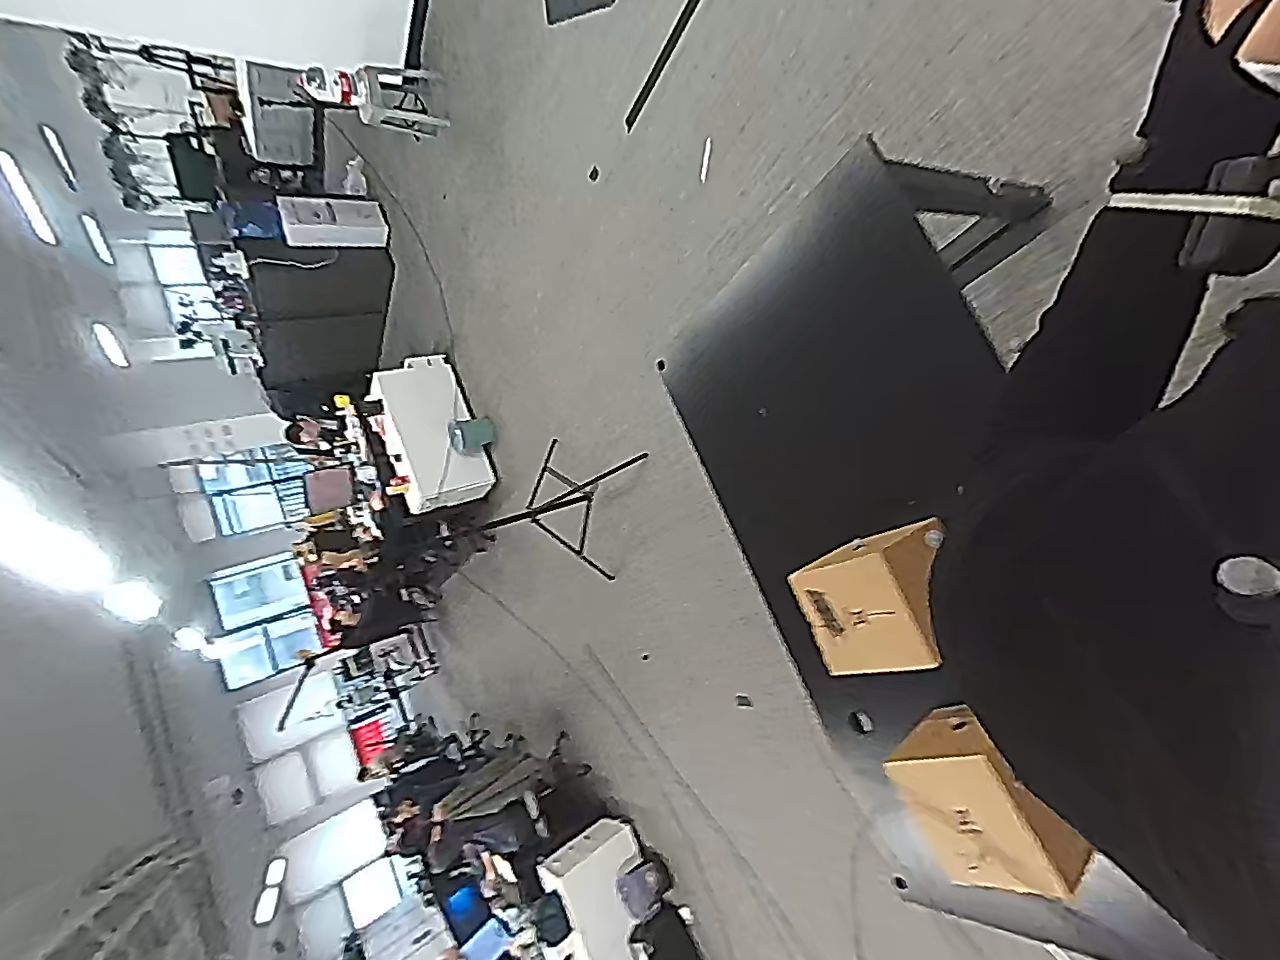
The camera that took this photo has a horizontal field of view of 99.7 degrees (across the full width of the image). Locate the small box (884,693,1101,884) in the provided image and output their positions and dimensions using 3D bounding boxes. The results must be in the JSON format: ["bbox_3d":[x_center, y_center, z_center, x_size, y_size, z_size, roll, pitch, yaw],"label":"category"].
[{"bbox_3d":[0.499,0.425,0.773,0.179,0.176,0.168,62,144,15],"label":"small box"}]

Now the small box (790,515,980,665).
[{"bbox_3d":[0.375,0.170,0.835,0.179,0.176,0.168,-35,76,54],"label":"small box"}]
